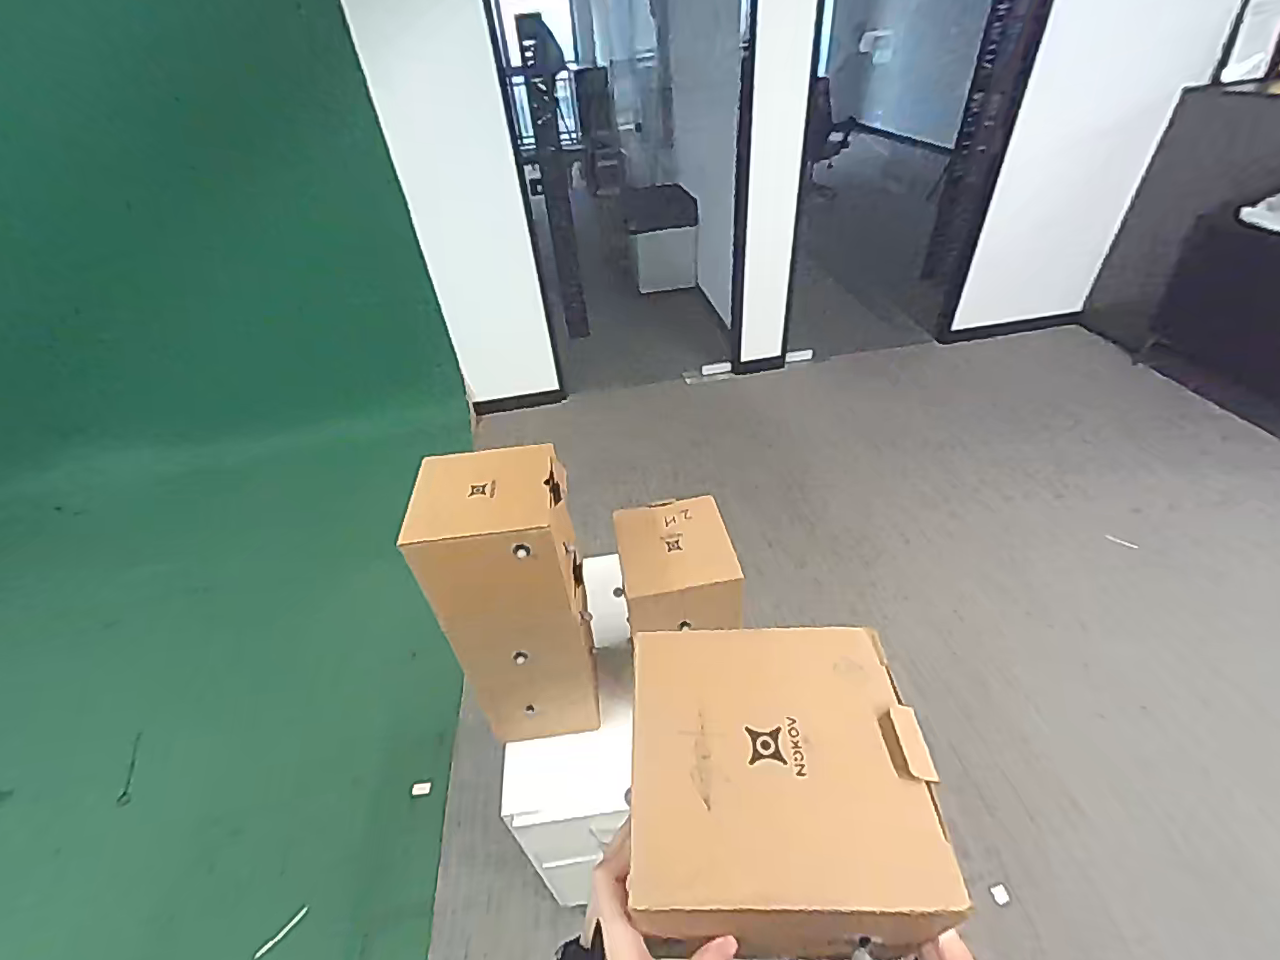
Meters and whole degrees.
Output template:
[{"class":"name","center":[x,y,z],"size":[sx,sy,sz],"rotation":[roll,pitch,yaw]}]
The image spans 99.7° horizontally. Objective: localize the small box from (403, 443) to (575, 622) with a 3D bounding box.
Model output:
[{"class":"small box","center":[-0.187,0.072,0.726],"size":[0.179,0.176,0.168],"rotation":[-6,40,-3]}]

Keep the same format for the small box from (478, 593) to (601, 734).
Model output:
[{"class":"small box","center":[-0.166,0.320,0.939],"size":[0.179,0.176,0.168],"rotation":[-6,41,-4]}]

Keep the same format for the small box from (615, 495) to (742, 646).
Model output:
[{"class":"small box","center":[0.058,0.152,0.856],"size":[0.168,0.176,0.179],"rotation":[-9,40,-4]}]

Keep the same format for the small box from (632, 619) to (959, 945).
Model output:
[{"class":"small box","center":[0.091,0.221,0.399],"size":[0.179,0.176,0.168],"rotation":[-4,41,5]}]
